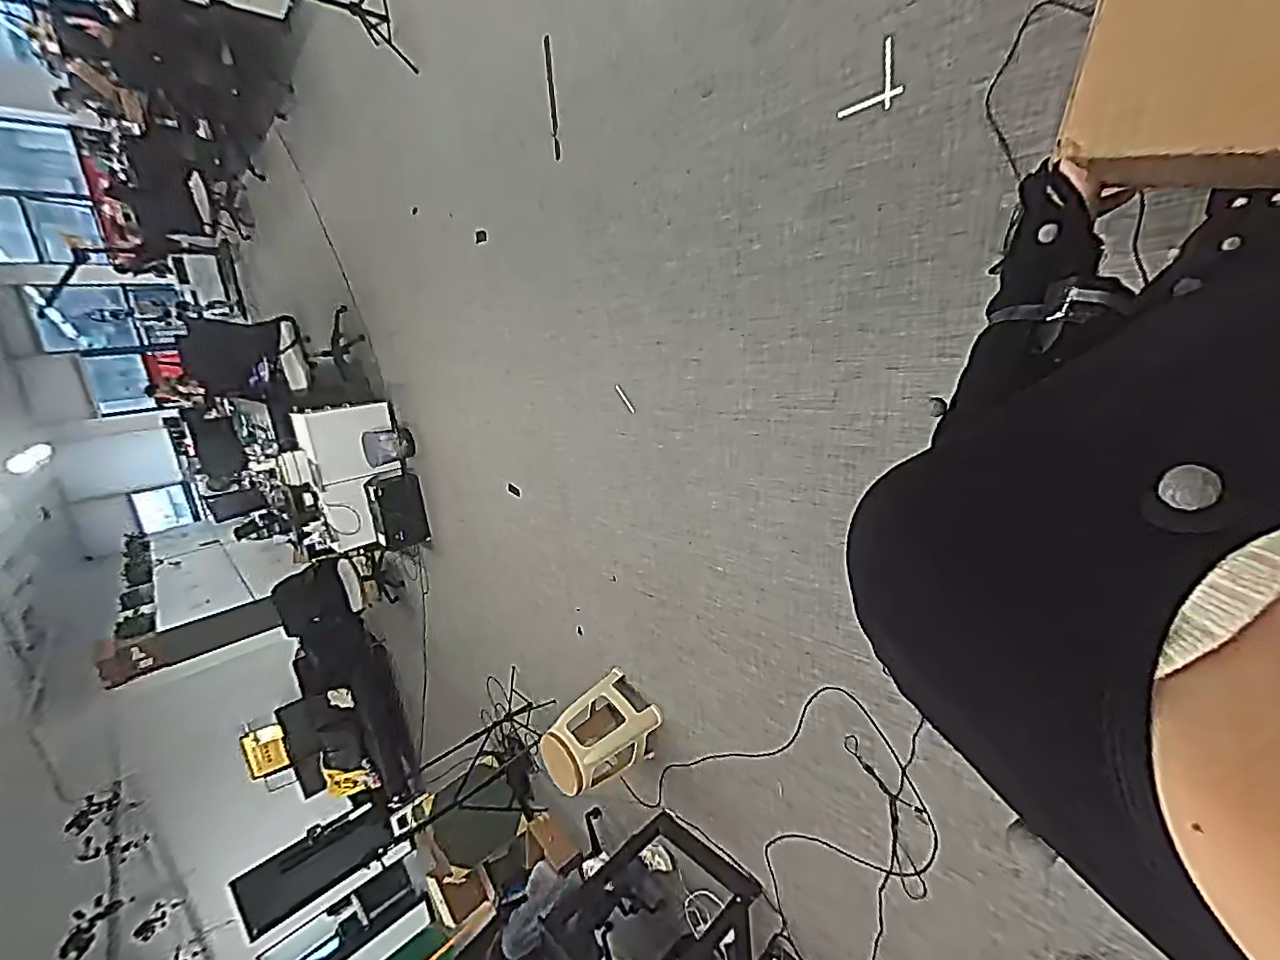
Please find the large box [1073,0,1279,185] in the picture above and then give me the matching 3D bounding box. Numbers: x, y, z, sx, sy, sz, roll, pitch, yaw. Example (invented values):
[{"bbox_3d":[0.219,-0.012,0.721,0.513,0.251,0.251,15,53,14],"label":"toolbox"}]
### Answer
[{"bbox_3d":[0.451,-0.290,0.184,0.408,0.320,0.320,21,123,35],"label":"large box"}]
